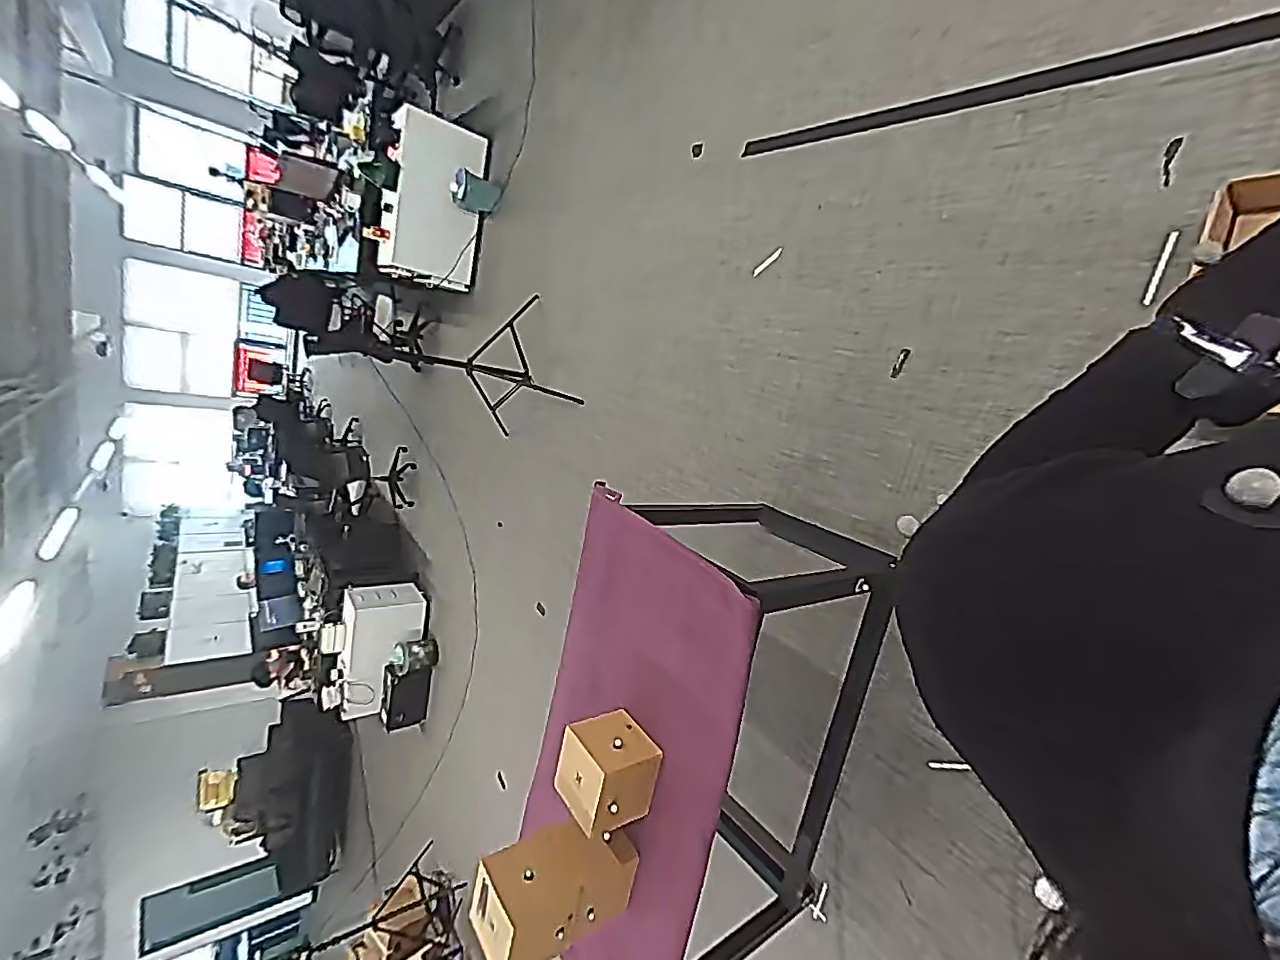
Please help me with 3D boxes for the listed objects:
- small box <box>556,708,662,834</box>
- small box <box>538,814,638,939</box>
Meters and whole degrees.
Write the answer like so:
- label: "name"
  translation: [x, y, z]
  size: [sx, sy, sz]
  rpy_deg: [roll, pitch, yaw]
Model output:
- label: "small box"
  translation: [-0.070, 0.663, 1.257]
  size: [0.168, 0.176, 0.179]
  rpy_deg: [27, 110, 48]
- label: "small box"
  translation: [-0.125, 0.938, 1.311]
  size: [0.168, 0.176, 0.179]
  rpy_deg: [26, 108, 48]
